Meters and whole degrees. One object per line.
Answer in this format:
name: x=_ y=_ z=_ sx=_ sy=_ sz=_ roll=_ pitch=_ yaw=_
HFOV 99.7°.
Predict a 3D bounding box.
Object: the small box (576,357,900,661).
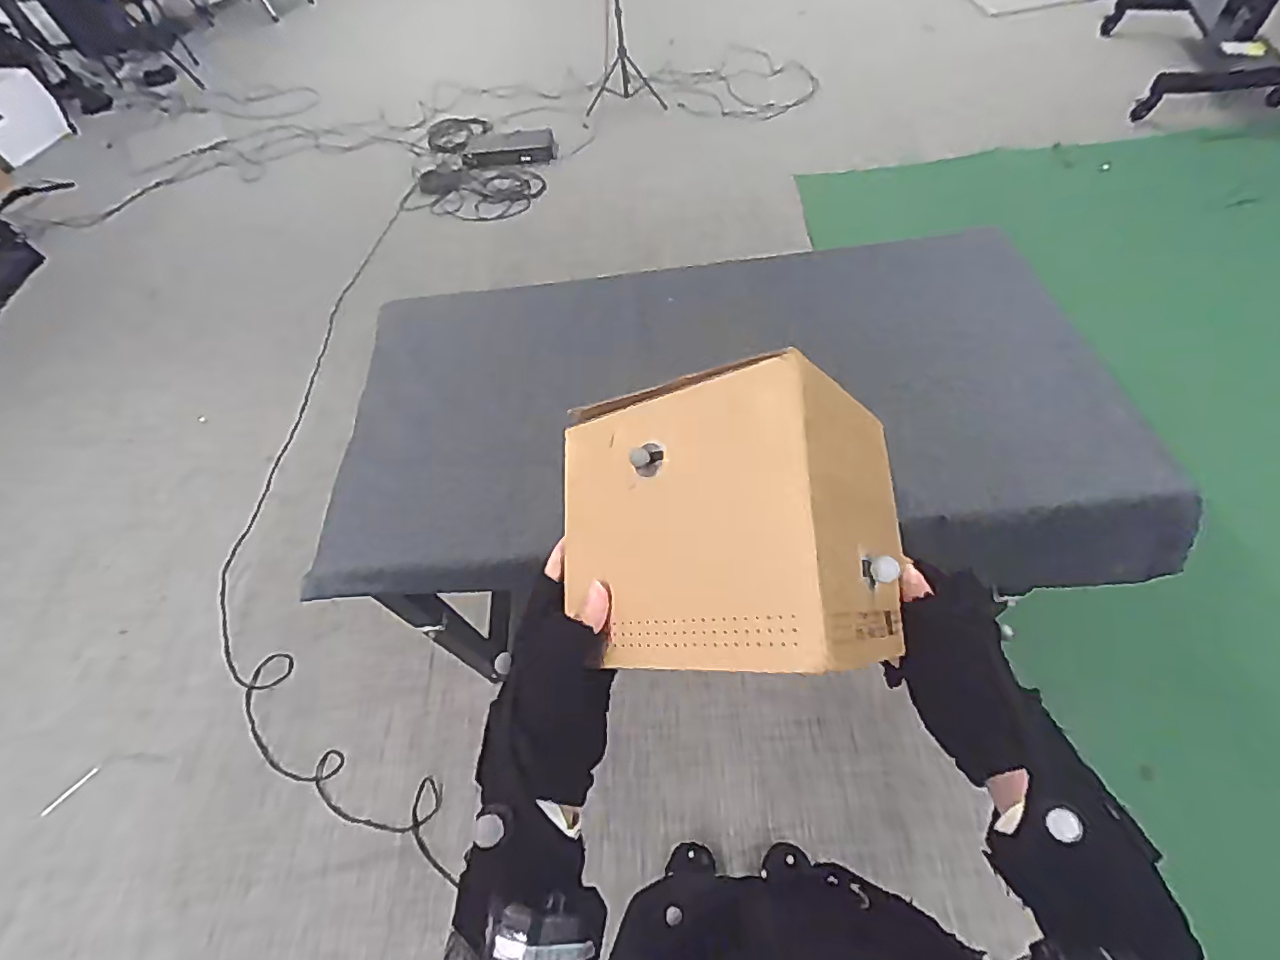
small box: x=0.068 y=0.039 z=0.395 sx=0.179 sy=0.168 sz=0.176 roll=-12 pitch=73 yaw=37
